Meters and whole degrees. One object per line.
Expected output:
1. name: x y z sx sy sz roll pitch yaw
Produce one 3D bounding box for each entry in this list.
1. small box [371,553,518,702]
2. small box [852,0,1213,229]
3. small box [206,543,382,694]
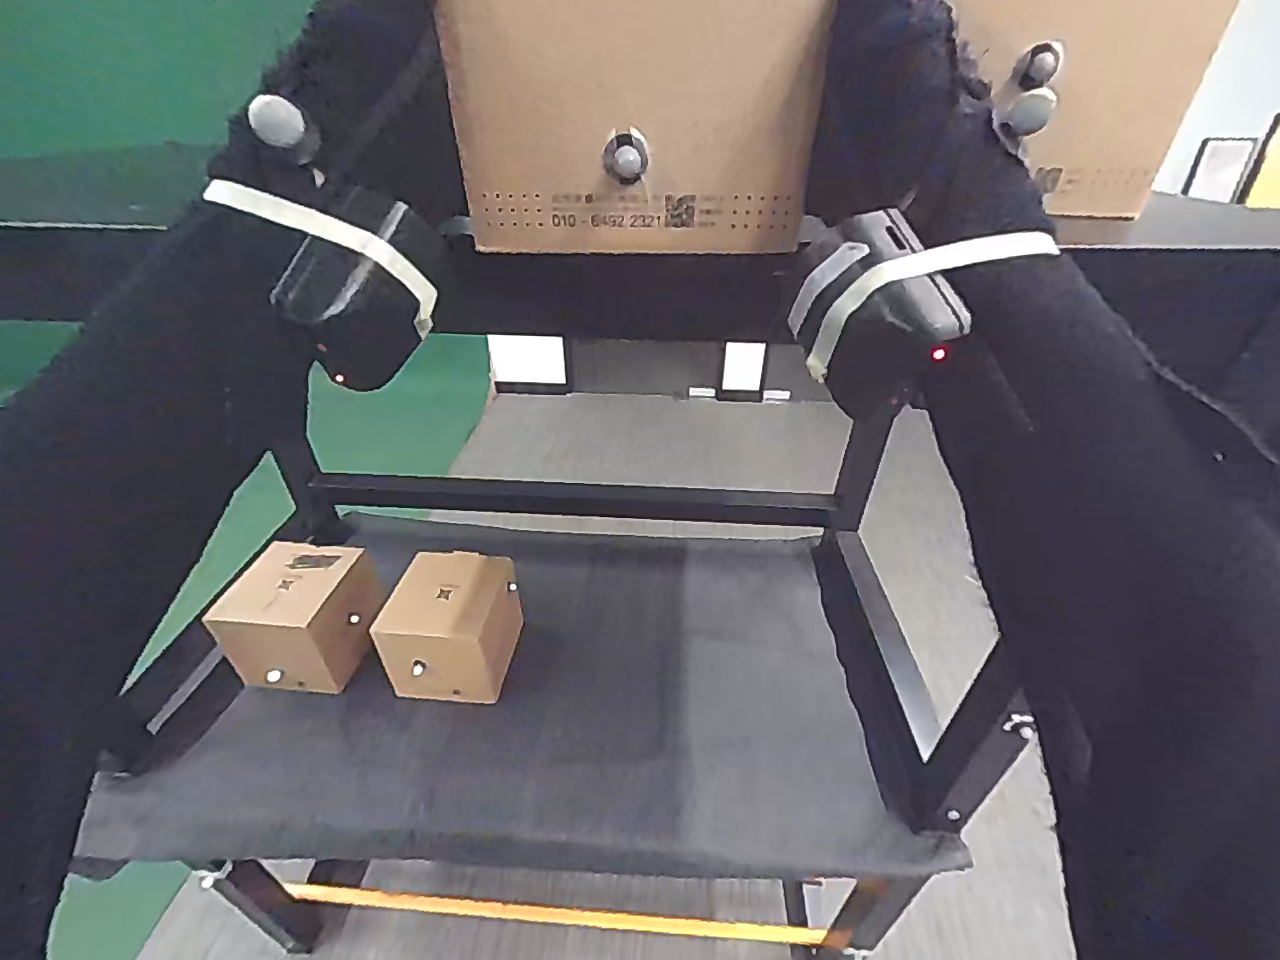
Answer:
1. small box: -0.309 0.245 0.900 0.168 0.176 0.179 3 35 3
2. small box: 0.258 -0.287 0.391 0.168 0.176 0.179 9 36 12
3. small box: -0.561 0.230 0.911 0.168 0.176 0.179 3 35 4
